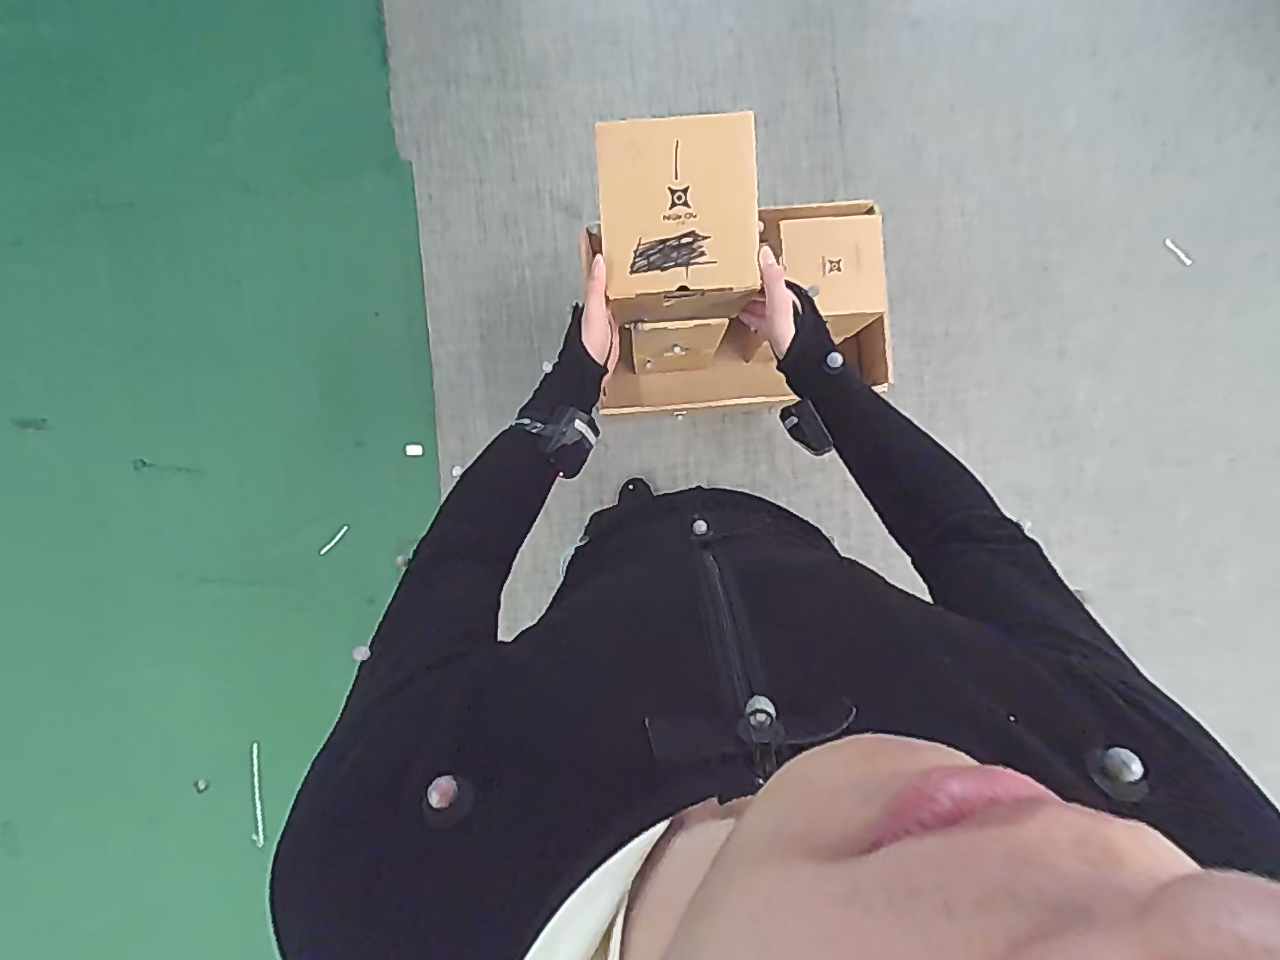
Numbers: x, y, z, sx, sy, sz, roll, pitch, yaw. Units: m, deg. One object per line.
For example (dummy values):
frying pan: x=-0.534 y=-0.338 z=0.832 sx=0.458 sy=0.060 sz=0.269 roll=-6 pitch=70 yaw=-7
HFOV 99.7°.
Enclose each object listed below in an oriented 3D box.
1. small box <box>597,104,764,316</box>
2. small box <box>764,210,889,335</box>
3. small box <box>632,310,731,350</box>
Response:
small box: x=0.044 y=-0.292 z=0.628 sx=0.168 sy=0.176 sz=0.179 roll=-4 pitch=96 yaw=0
small box: x=0.326 y=-0.366 z=0.980 sx=0.179 sy=0.176 sz=0.168 roll=-3 pitch=91 yaw=0
small box: x=0.065 y=-0.347 z=0.979 sx=0.168 sy=0.176 sz=0.179 roll=-4 pitch=89 yaw=1
